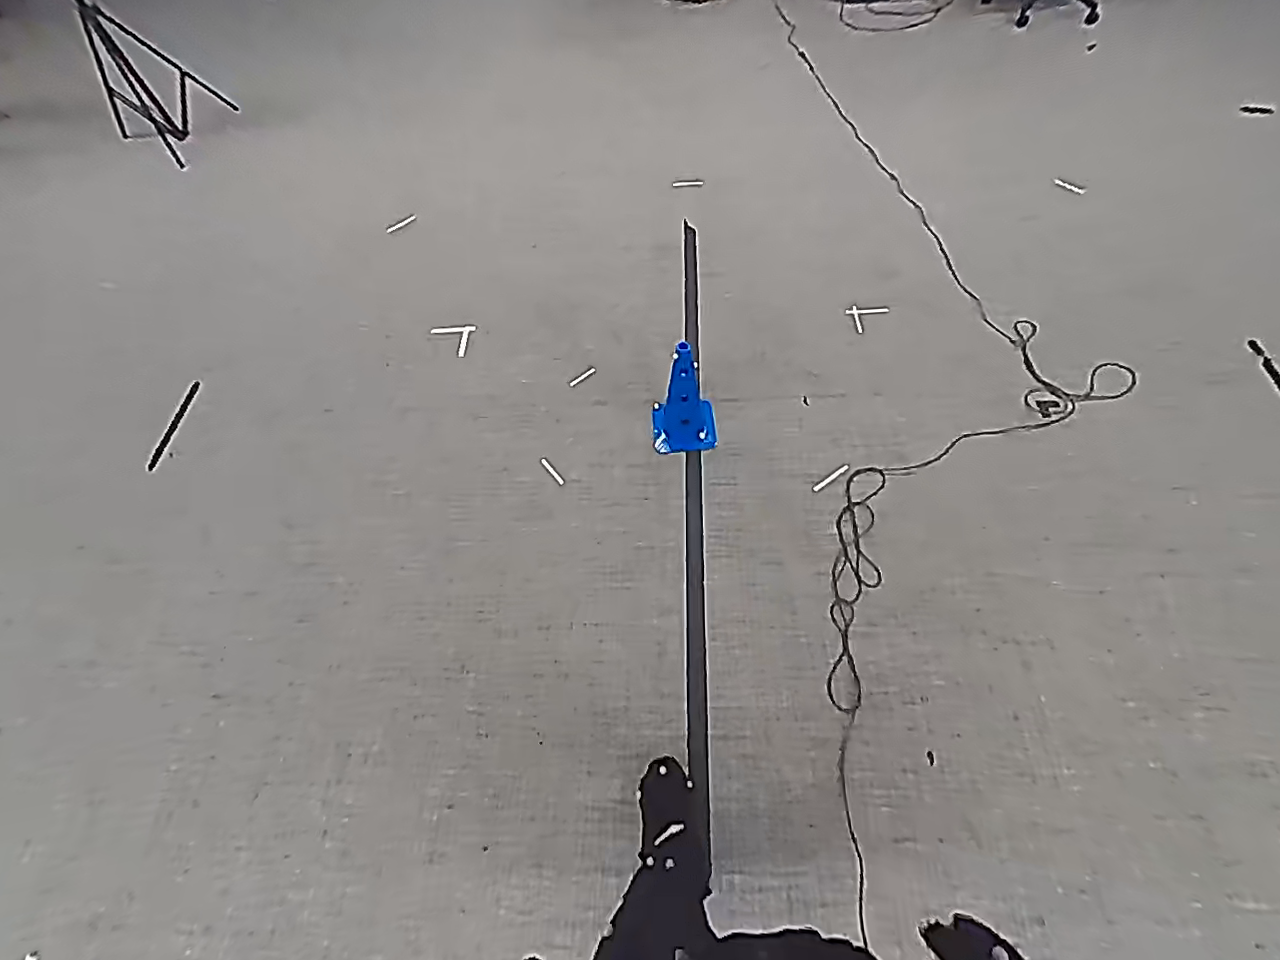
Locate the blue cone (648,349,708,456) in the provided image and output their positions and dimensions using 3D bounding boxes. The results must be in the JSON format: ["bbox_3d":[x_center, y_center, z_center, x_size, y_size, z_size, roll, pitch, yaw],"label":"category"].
[{"bbox_3d":[0.110,-0.250,1.634,0.192,0.380,0.193,-4,57,3],"label":"blue cone"}]
